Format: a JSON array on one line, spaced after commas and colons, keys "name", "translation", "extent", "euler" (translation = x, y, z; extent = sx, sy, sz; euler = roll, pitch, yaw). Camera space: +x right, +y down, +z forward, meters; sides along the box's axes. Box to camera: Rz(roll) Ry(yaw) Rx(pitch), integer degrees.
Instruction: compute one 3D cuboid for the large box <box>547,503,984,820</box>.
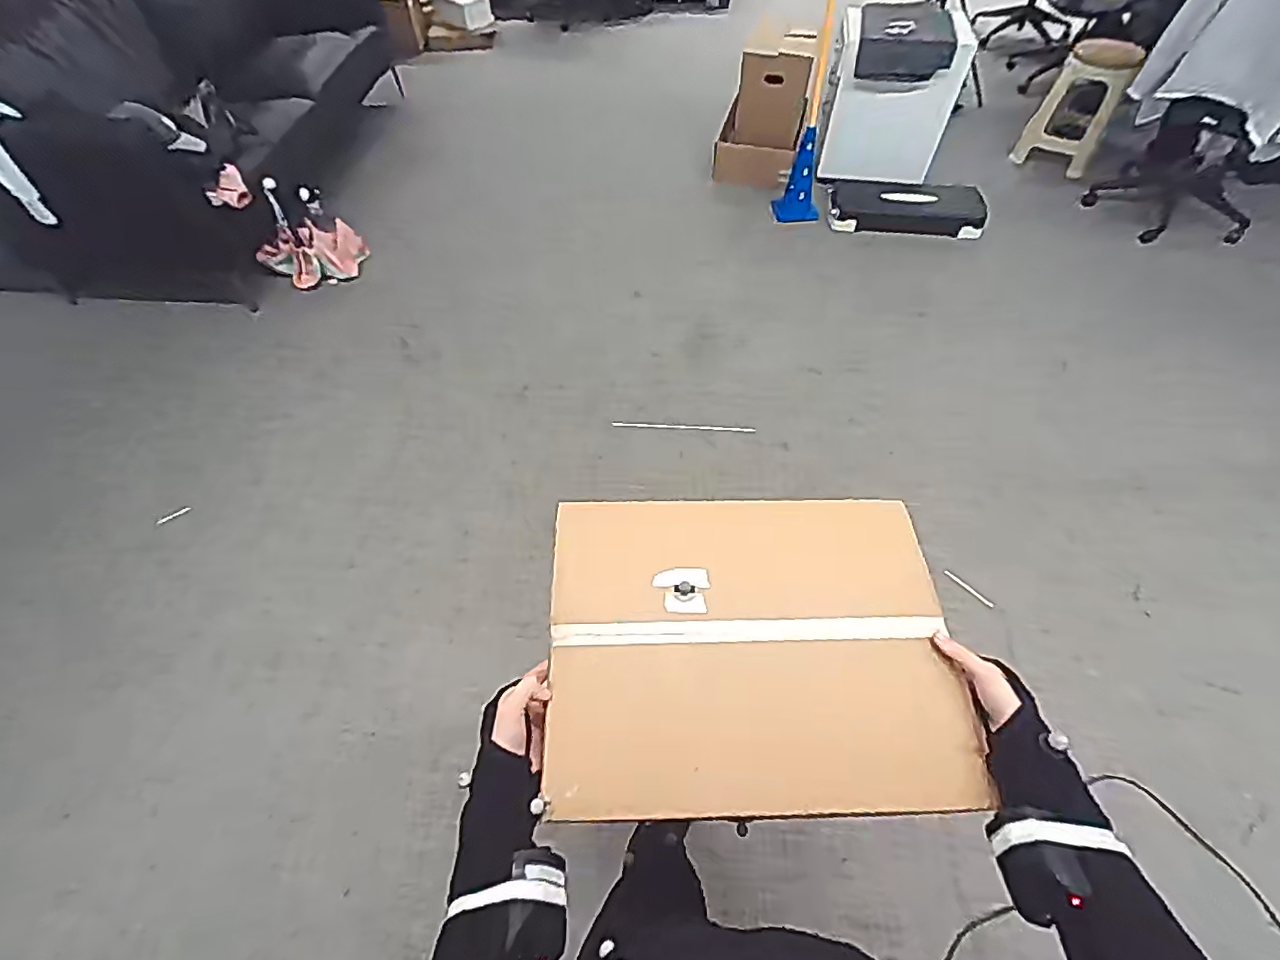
[{"name": "large box", "translation": [0.111, 0.242, 0.687], "extent": [0.408, 0.320, 0.320], "euler": [-1, 56, -1]}]
